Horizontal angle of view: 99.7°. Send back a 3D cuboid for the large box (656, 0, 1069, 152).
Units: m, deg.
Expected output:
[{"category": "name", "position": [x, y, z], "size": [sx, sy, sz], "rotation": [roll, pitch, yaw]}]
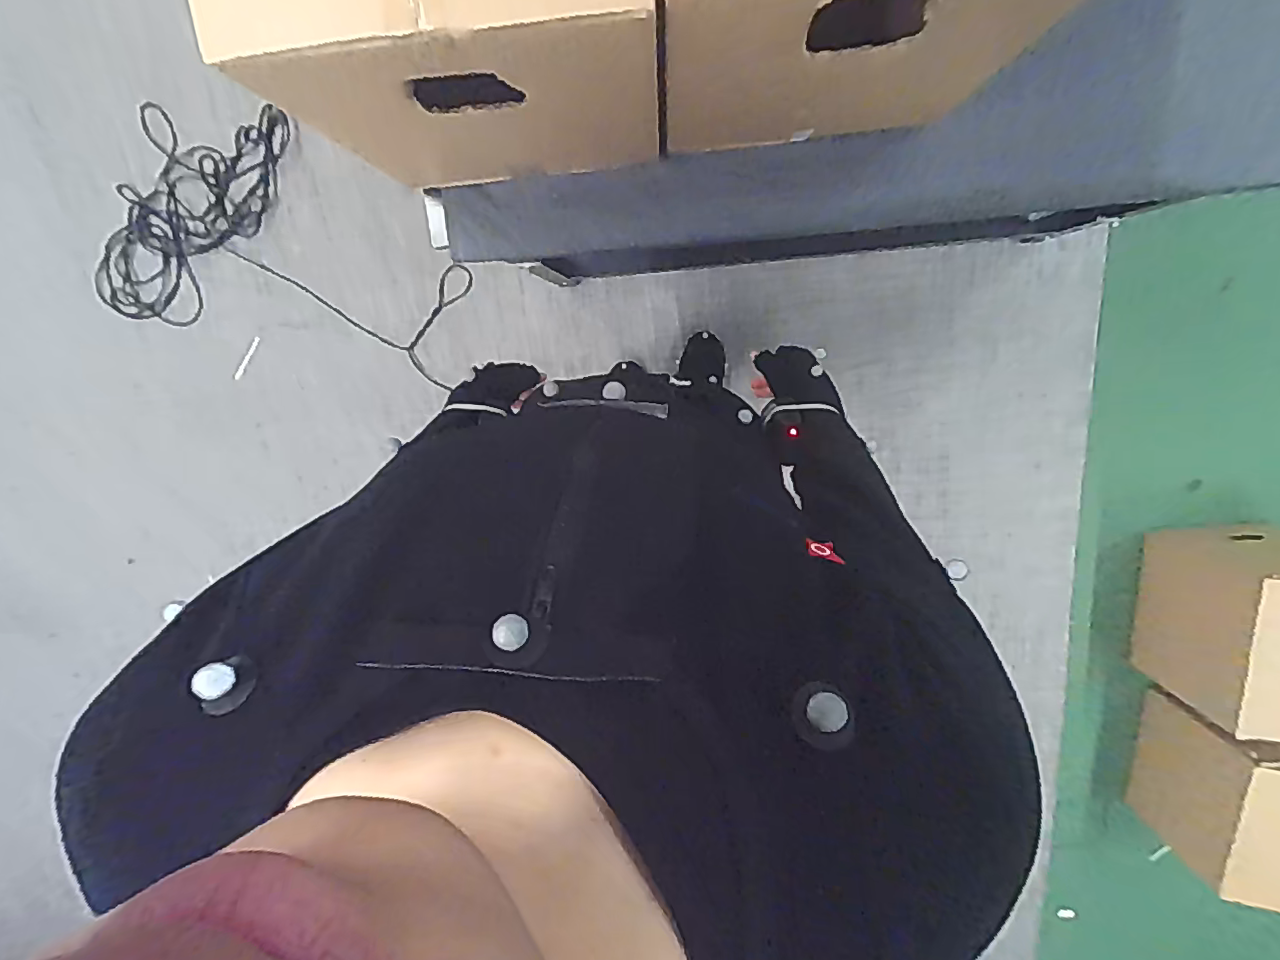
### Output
[{"category": "large box", "position": [0.157, -0.556, 0.442], "size": [0.320, 0.320, 0.408], "rotation": [-5, 104, 5]}]
